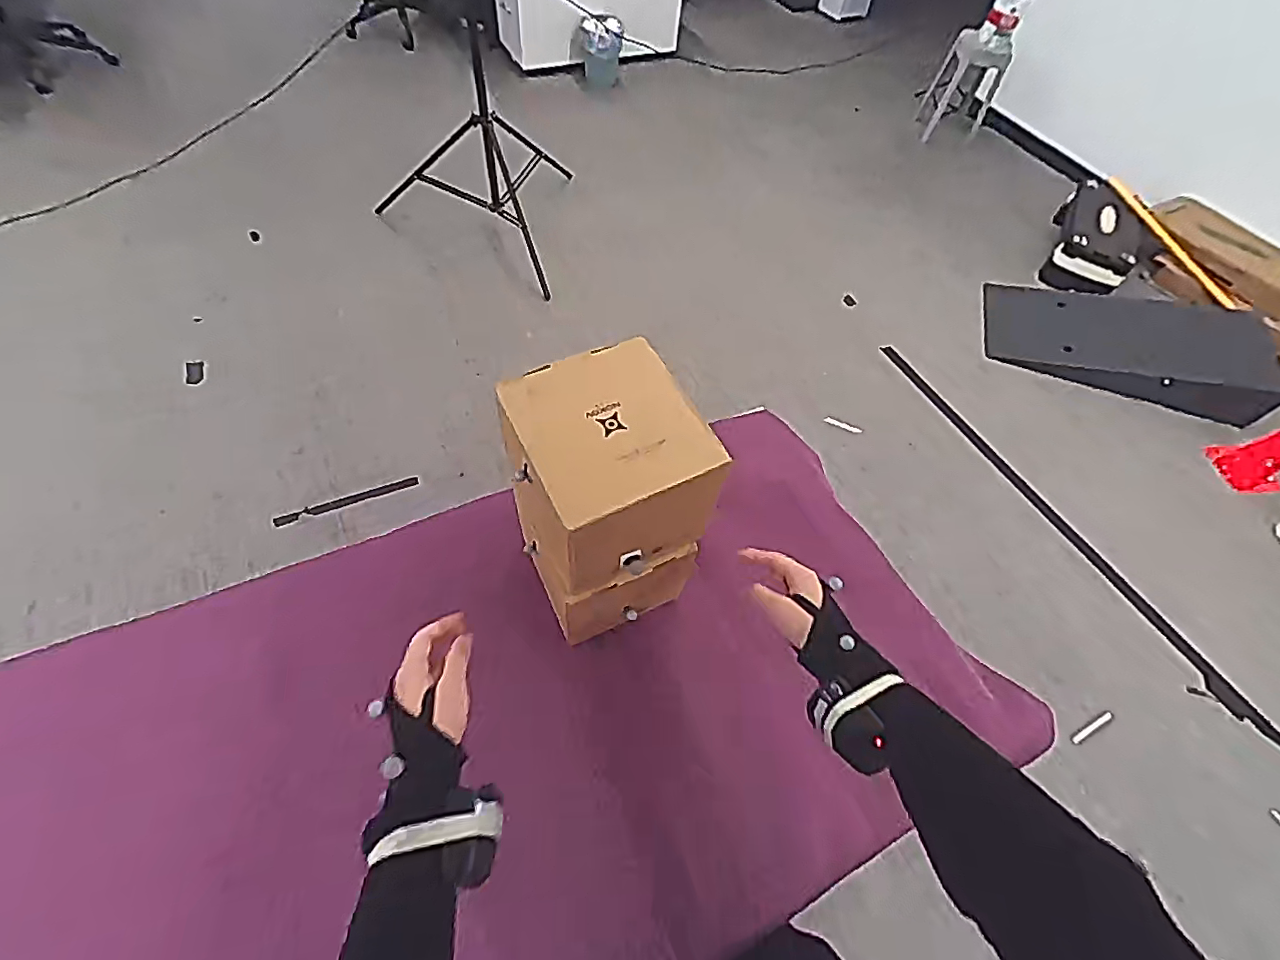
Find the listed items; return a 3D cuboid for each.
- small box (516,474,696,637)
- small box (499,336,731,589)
[{"bbox_3d":[-0.050,0.077,0.704,0.168,0.176,0.179,-21,63,-17],"label":"small box"},{"bbox_3d":[-0.033,-0.014,0.571,0.168,0.176,0.179,-23,64,-18],"label":"small box"}]
